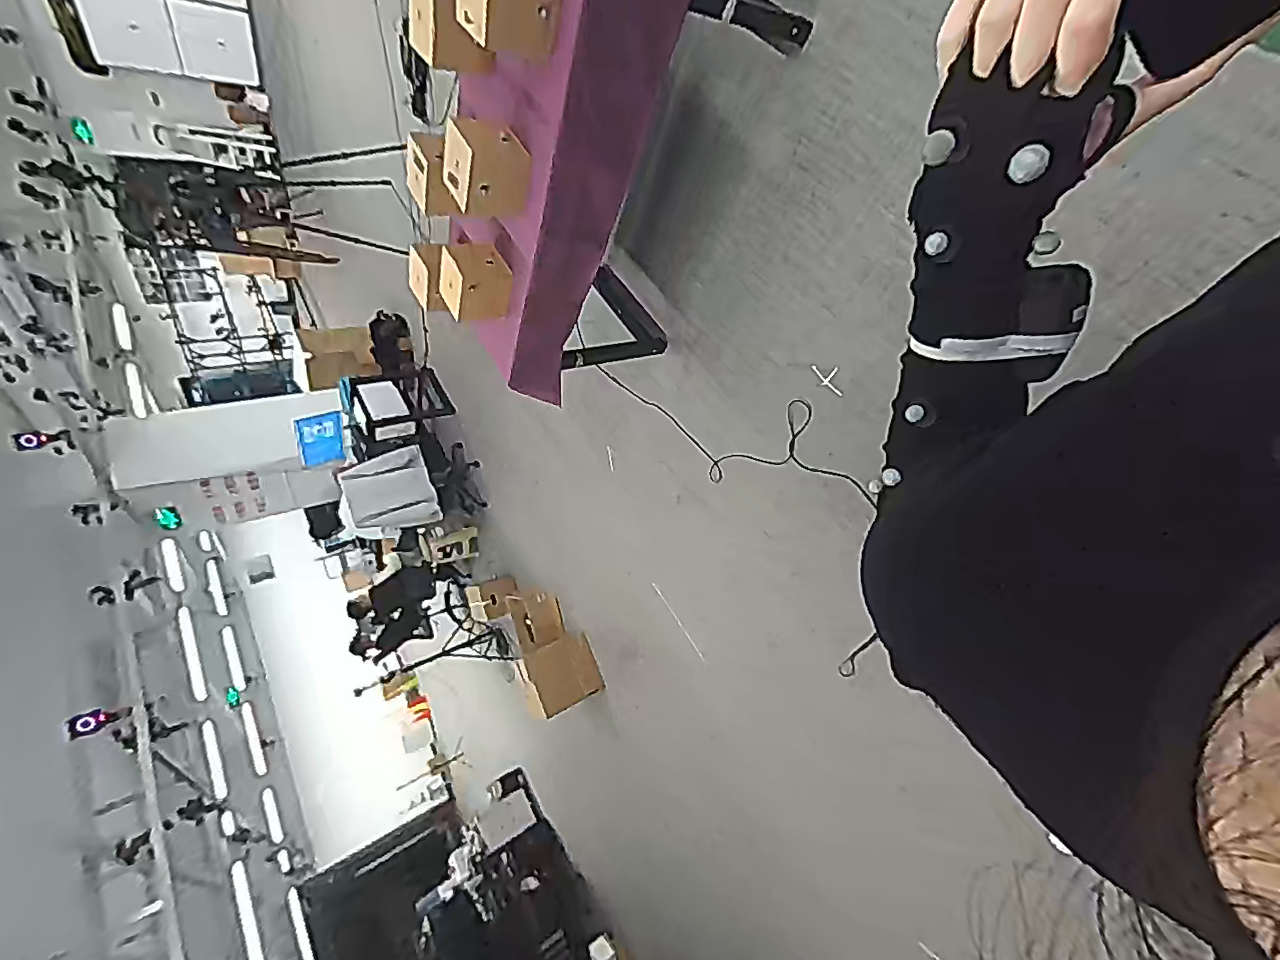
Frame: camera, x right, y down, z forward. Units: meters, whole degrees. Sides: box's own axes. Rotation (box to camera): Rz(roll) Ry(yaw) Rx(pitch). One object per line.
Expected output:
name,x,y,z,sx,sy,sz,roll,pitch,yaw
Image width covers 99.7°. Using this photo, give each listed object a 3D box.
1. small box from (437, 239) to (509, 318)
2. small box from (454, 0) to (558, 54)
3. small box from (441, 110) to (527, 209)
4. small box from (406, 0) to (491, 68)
small box,-0.536,-0.647,1.737,0.168,0.176,0.179,57,142,22
small box,-0.290,-1.085,1.190,0.168,0.176,0.179,56,142,24
small box,-0.429,-0.869,1.484,0.168,0.176,0.179,58,142,20
small box,-0.502,-1.222,1.426,0.179,0.176,0.168,54,142,25
